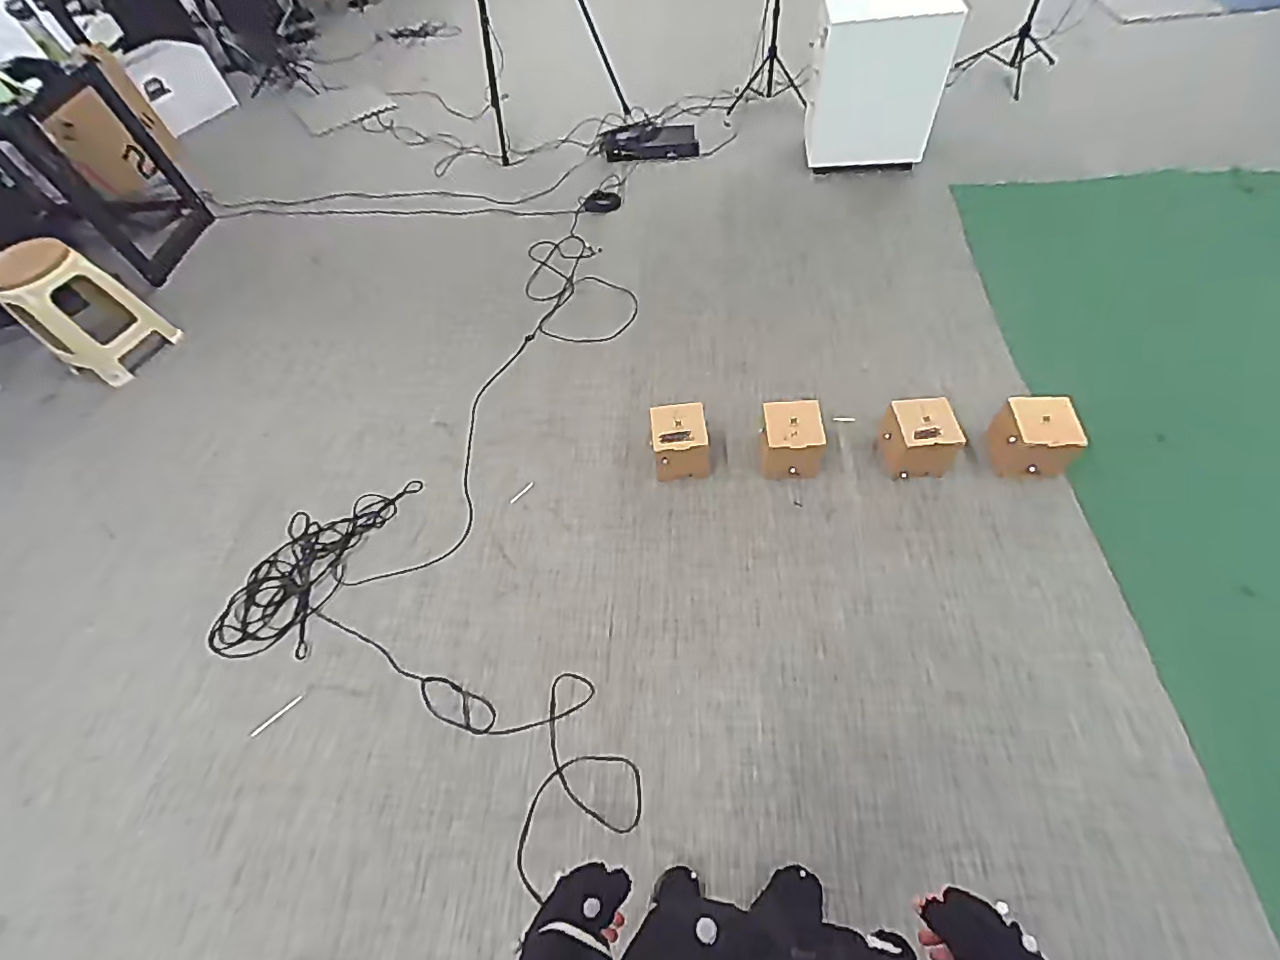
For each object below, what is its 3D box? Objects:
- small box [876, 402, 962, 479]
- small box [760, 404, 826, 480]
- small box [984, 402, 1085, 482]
[{"bbox_3d":[0.842,-0.114,1.648,0.168,0.176,0.179,-3,55,4],"label":"small box"},{"bbox_3d":[0.469,-0.116,1.686,0.168,0.176,0.179,-2,57,6],"label":"small box"},{"bbox_3d":[1.164,-0.112,1.615,0.168,0.176,0.179,1,57,7],"label":"small box"}]
